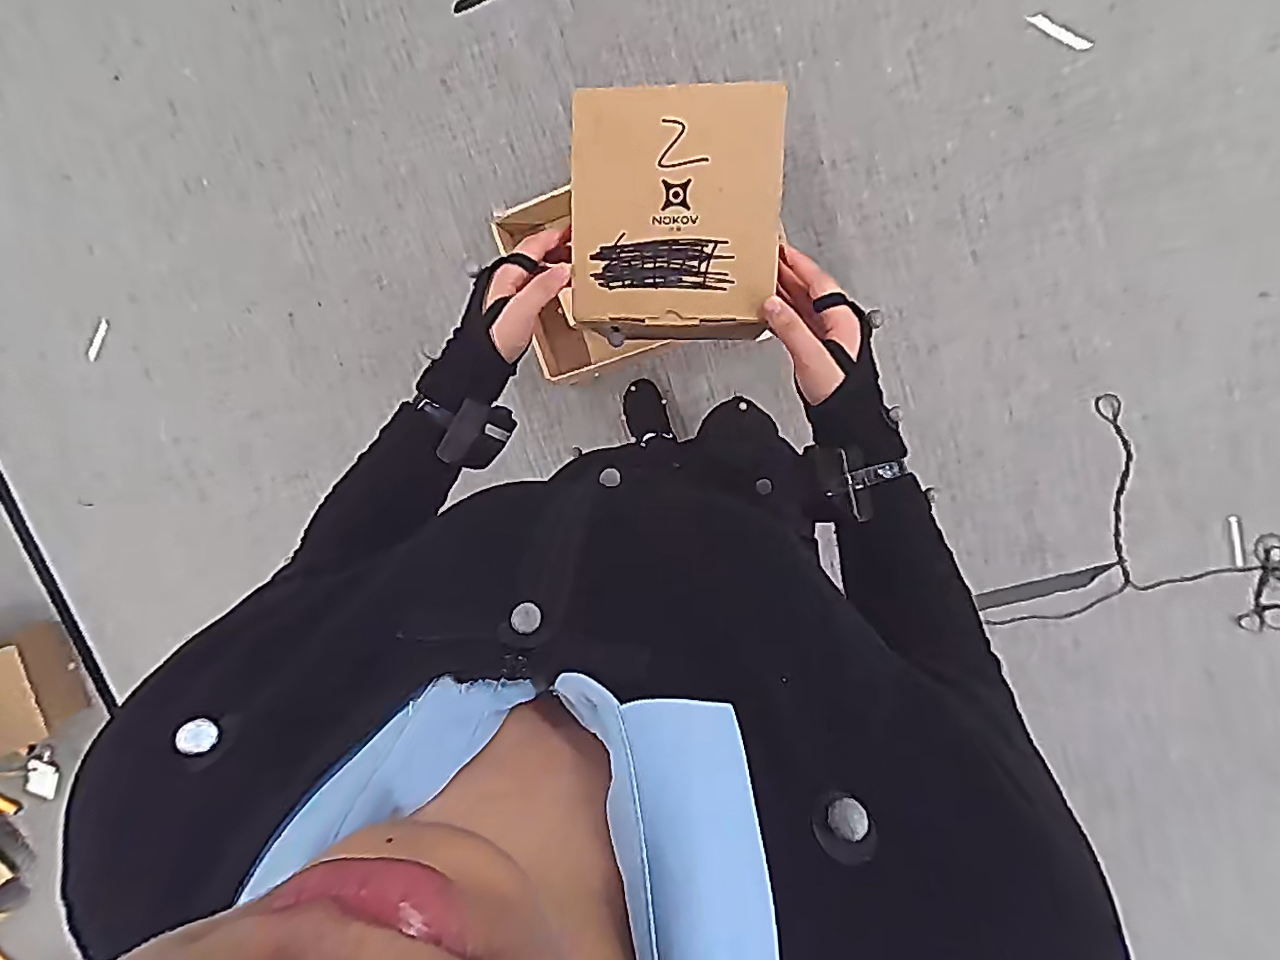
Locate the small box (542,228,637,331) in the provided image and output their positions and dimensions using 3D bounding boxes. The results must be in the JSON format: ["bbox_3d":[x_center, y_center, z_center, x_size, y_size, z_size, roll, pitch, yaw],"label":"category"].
[{"bbox_3d":[-0.111,-0.465,1.287,0.168,0.176,0.179,-20,98,6],"label":"small box"}]

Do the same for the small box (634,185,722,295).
[{"bbox_3d":[0.088,-0.549,1.259,0.168,0.176,0.179,-12,99,7],"label":"small box"}]
